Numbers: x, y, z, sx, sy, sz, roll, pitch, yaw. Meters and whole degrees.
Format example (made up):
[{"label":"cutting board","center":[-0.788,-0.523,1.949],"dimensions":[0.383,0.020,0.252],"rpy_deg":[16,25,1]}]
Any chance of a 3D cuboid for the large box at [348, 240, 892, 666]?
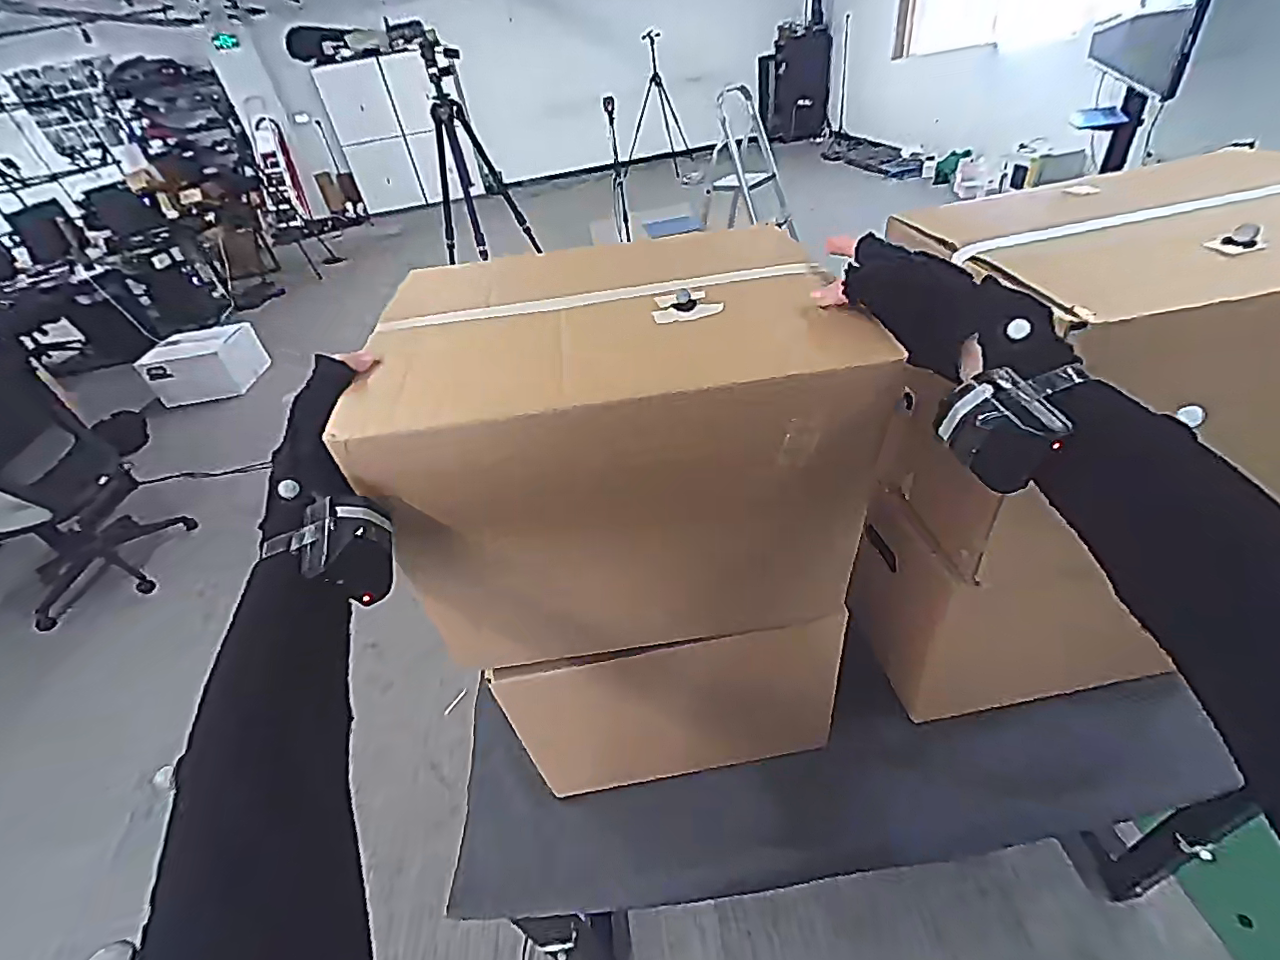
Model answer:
[{"label":"large box","center":[-0.019,-0.037,0.592],"dimensions":[0.408,0.320,0.320],"rpy_deg":[-8,42,-3]}]
